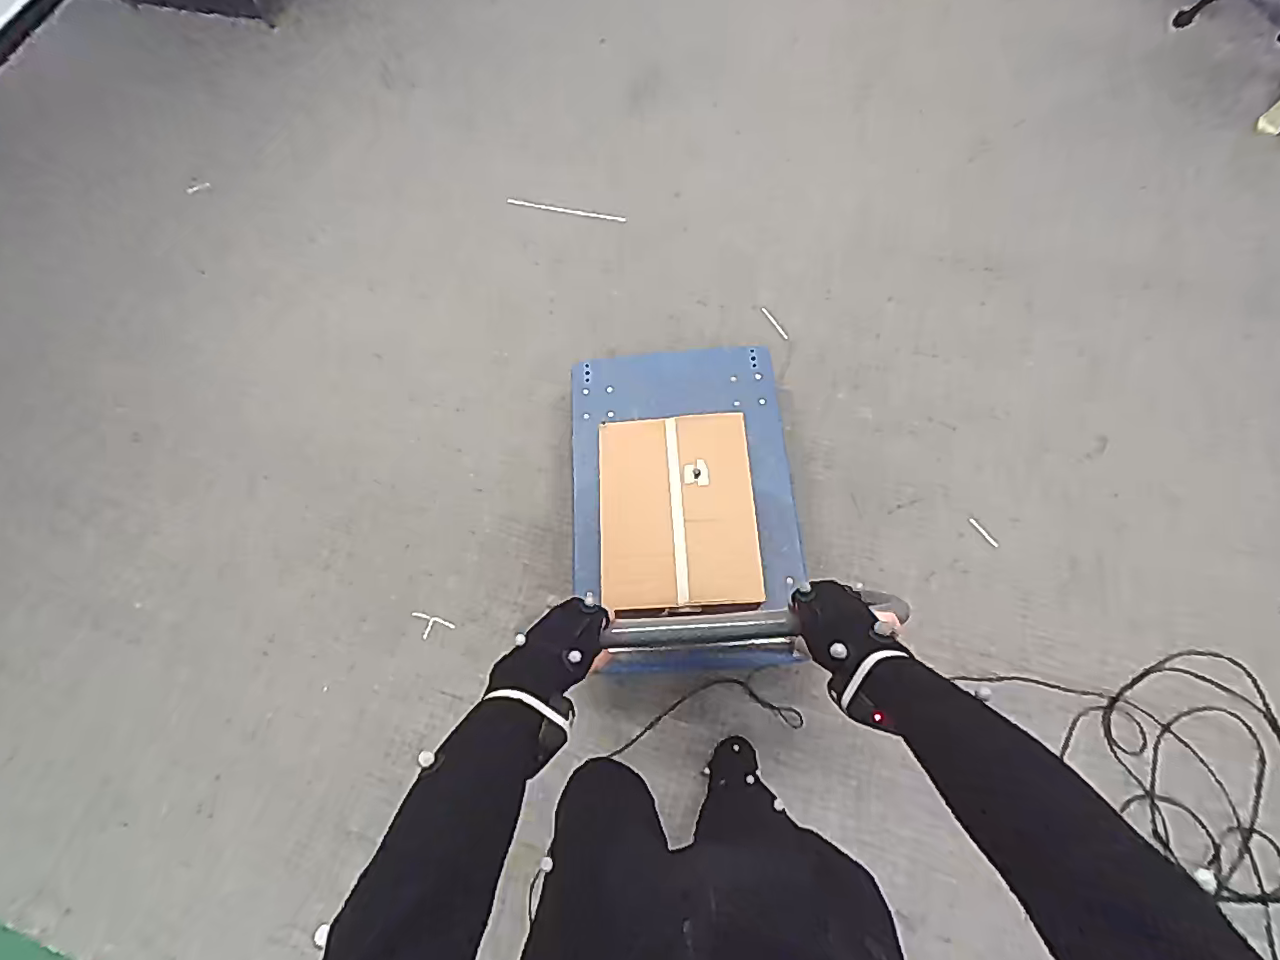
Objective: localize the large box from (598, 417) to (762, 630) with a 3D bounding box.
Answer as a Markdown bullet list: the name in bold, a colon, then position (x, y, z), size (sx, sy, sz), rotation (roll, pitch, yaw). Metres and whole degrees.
- **large box**: position (0.084, 0.114, 1.254), size (0.320, 0.320, 0.408), rotation (-4, 67, 3)
